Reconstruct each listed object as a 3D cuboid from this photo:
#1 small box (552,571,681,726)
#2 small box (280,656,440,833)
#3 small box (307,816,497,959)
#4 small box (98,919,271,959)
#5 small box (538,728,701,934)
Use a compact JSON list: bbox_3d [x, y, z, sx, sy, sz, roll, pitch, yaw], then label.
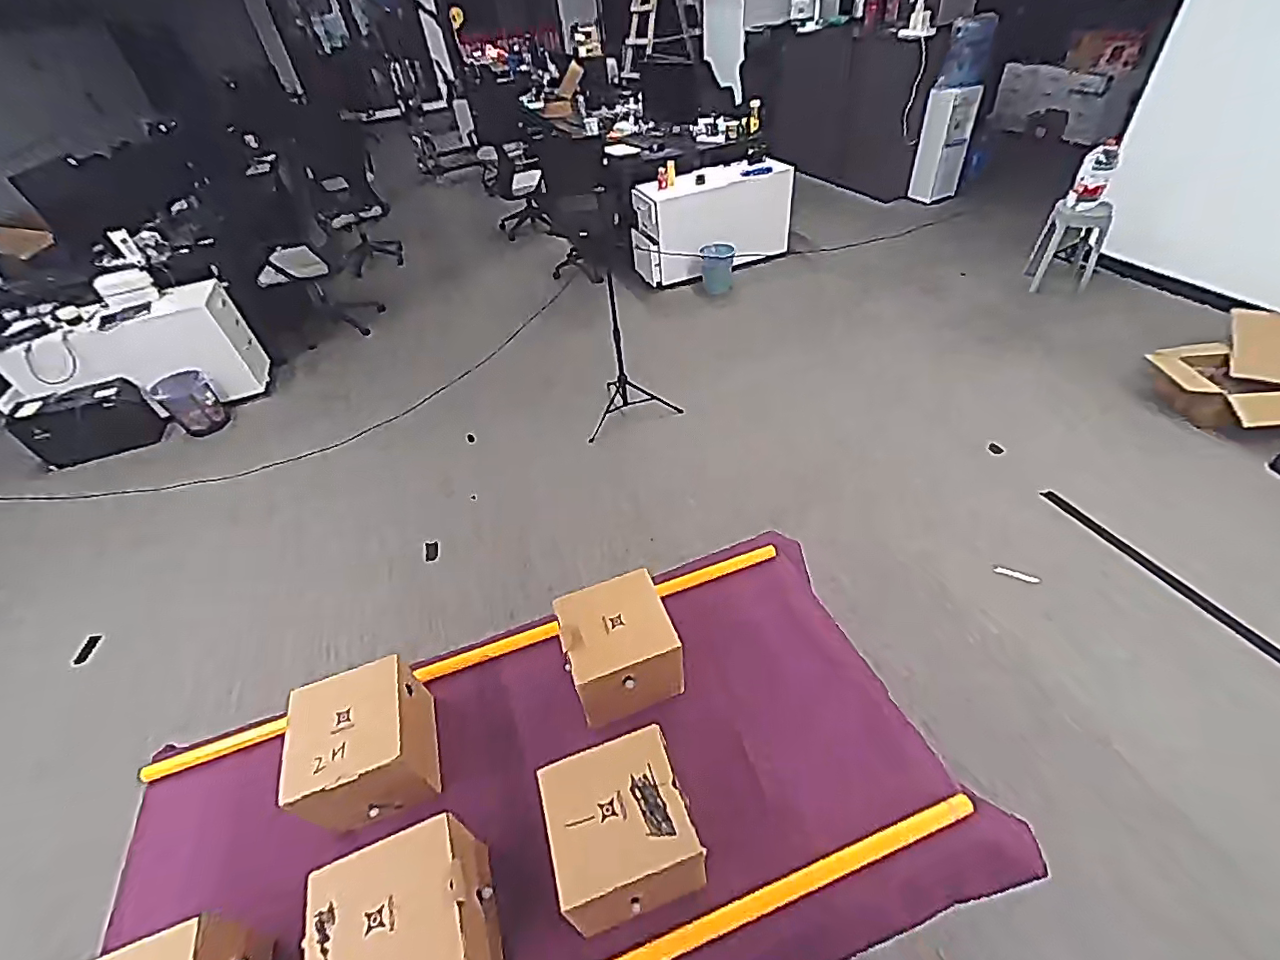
[{"bbox_3d":[-0.037,0.294,0.941,0.179,0.176,0.168,-18,45,-10],"label":"small box"},{"bbox_3d":[-0.433,0.421,0.861,0.168,0.176,0.179,-18,45,-10],"label":"small box"},{"bbox_3d":[-0.290,0.568,0.683,0.179,0.176,0.168,-18,44,-13],"label":"small box"},{"bbox_3d":[-0.567,0.655,0.626,0.179,0.176,0.168,-17,43,-13],"label":"small box"},{"bbox_3d":[-0.026,0.478,0.739,0.179,0.176,0.168,-17,42,-9],"label":"small box"}]
